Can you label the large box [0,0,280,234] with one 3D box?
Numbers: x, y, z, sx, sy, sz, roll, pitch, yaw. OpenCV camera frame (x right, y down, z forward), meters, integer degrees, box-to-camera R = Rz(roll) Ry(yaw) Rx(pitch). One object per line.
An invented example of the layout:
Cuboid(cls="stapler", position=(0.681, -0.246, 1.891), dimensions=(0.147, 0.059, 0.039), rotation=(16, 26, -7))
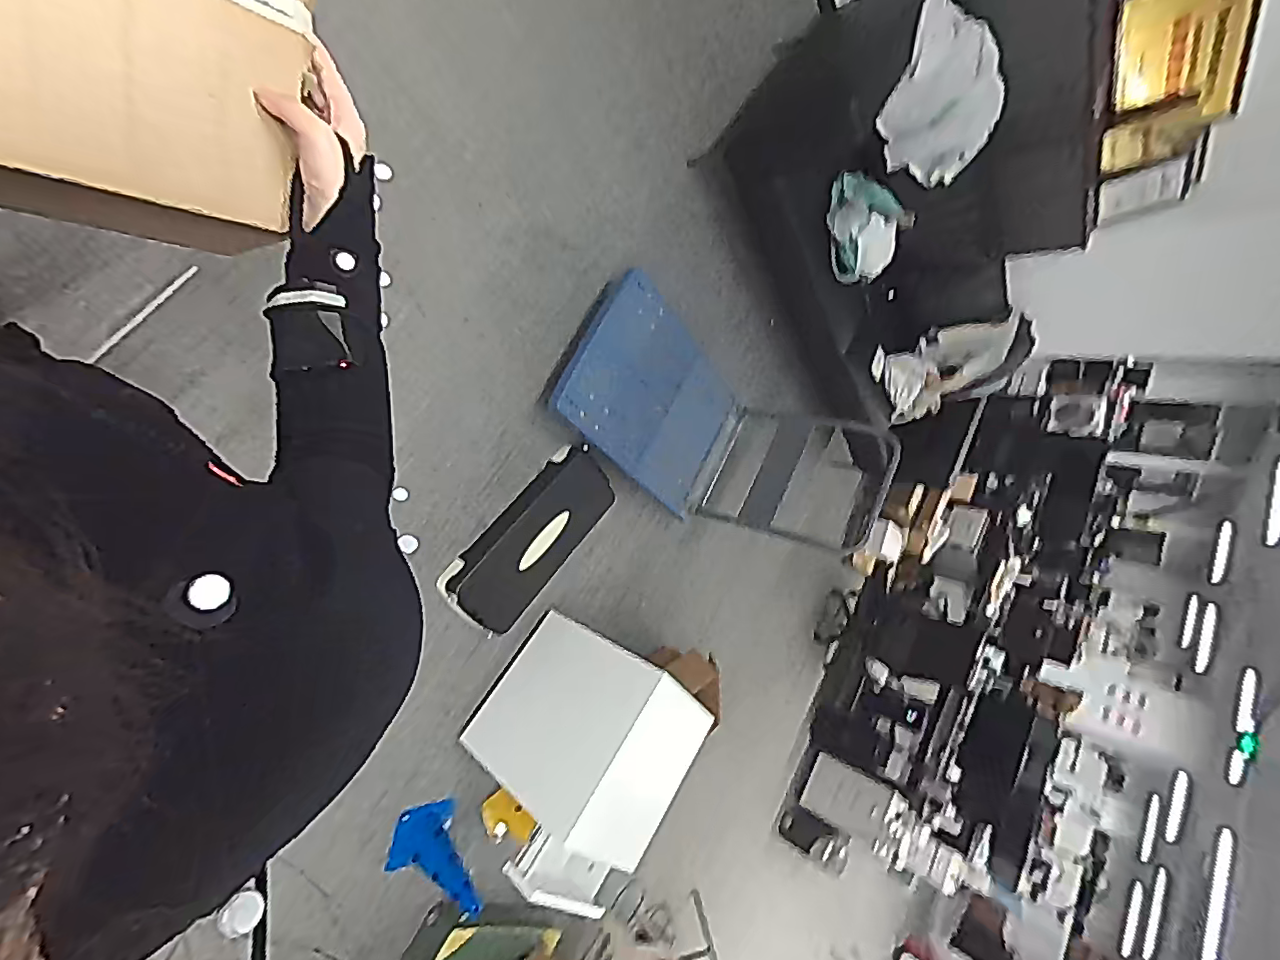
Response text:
Cuboid(cls="large box", position=(-0.522, -0.386, 0.381), dimensions=(0.408, 0.320, 0.320), rotation=(-4, 107, -43))
